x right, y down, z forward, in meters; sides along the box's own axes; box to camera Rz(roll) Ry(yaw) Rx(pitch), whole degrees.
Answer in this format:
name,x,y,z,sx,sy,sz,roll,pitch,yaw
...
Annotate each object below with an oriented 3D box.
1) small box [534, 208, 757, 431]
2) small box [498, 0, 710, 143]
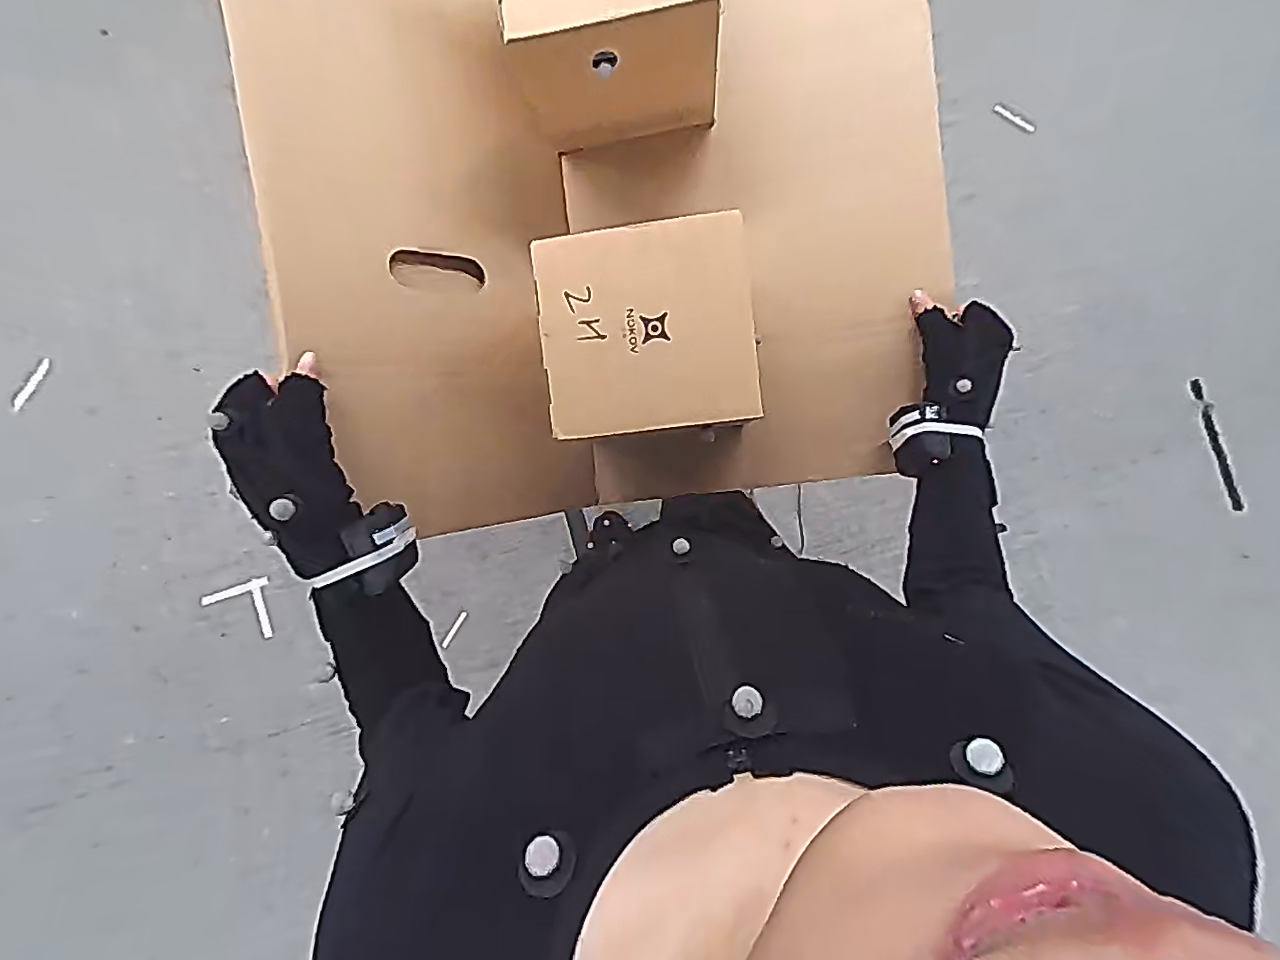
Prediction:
name,x,y,z,sx,sy,sz,roll,pitch,yaw
small box,0.011,-0.138,0.527,0.179,0.176,0.168,-6,93,7
small box,-0.028,-0.453,0.510,0.179,0.176,0.168,-7,93,6
